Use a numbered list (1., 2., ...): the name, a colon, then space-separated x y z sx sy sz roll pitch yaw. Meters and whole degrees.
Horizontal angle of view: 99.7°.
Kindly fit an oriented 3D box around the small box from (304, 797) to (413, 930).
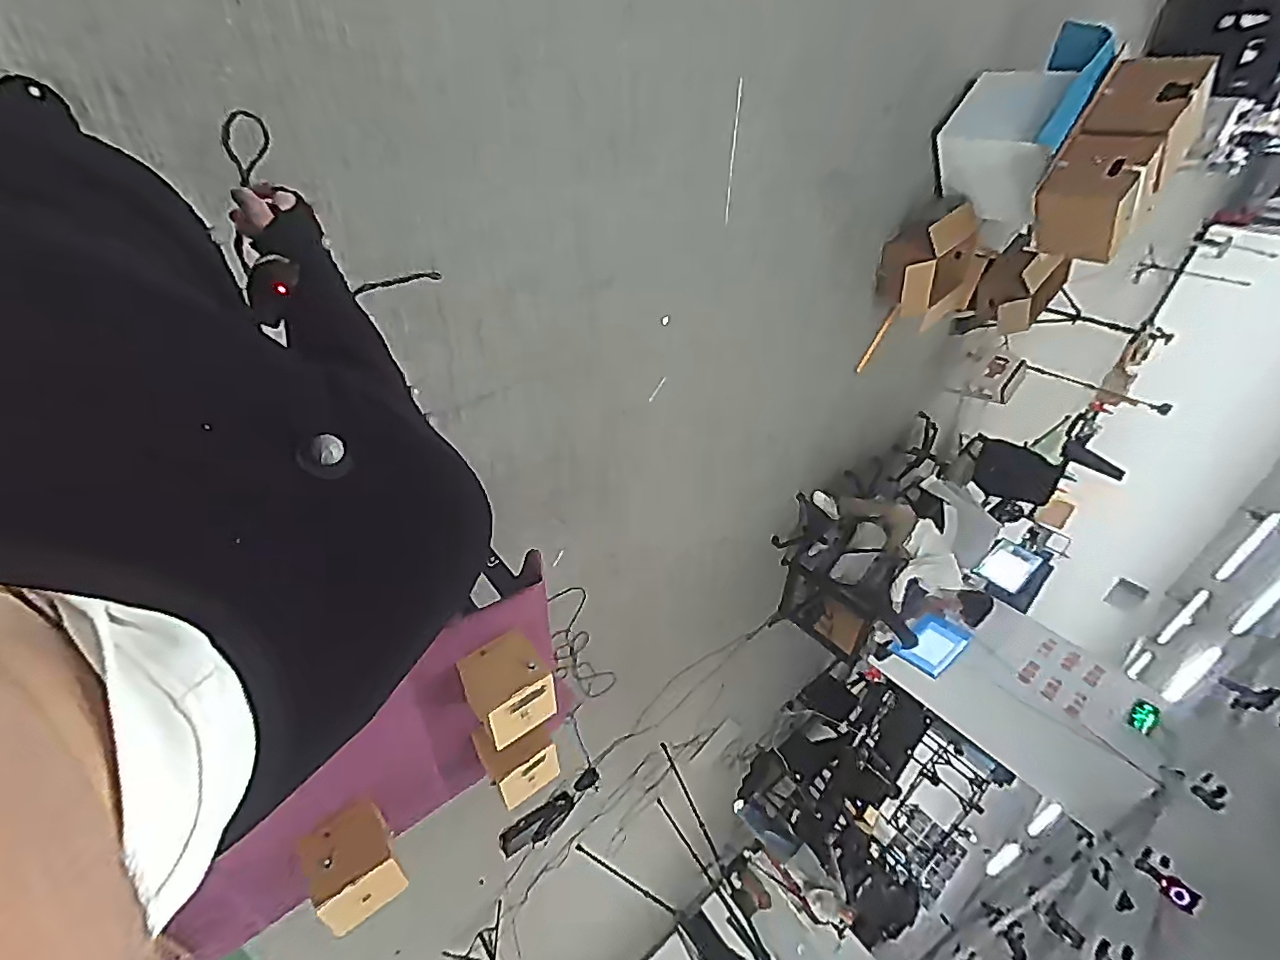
1. small box: -0.667 0.897 1.281 0.168 0.176 0.179 -24 133 -30

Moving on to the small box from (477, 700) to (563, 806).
1. small box: -0.333 0.742 1.491 0.168 0.176 0.179 -25 134 -29

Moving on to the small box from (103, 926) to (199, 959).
1. small box: -0.991 1.034 1.060 0.168 0.176 0.179 -24 132 -31
